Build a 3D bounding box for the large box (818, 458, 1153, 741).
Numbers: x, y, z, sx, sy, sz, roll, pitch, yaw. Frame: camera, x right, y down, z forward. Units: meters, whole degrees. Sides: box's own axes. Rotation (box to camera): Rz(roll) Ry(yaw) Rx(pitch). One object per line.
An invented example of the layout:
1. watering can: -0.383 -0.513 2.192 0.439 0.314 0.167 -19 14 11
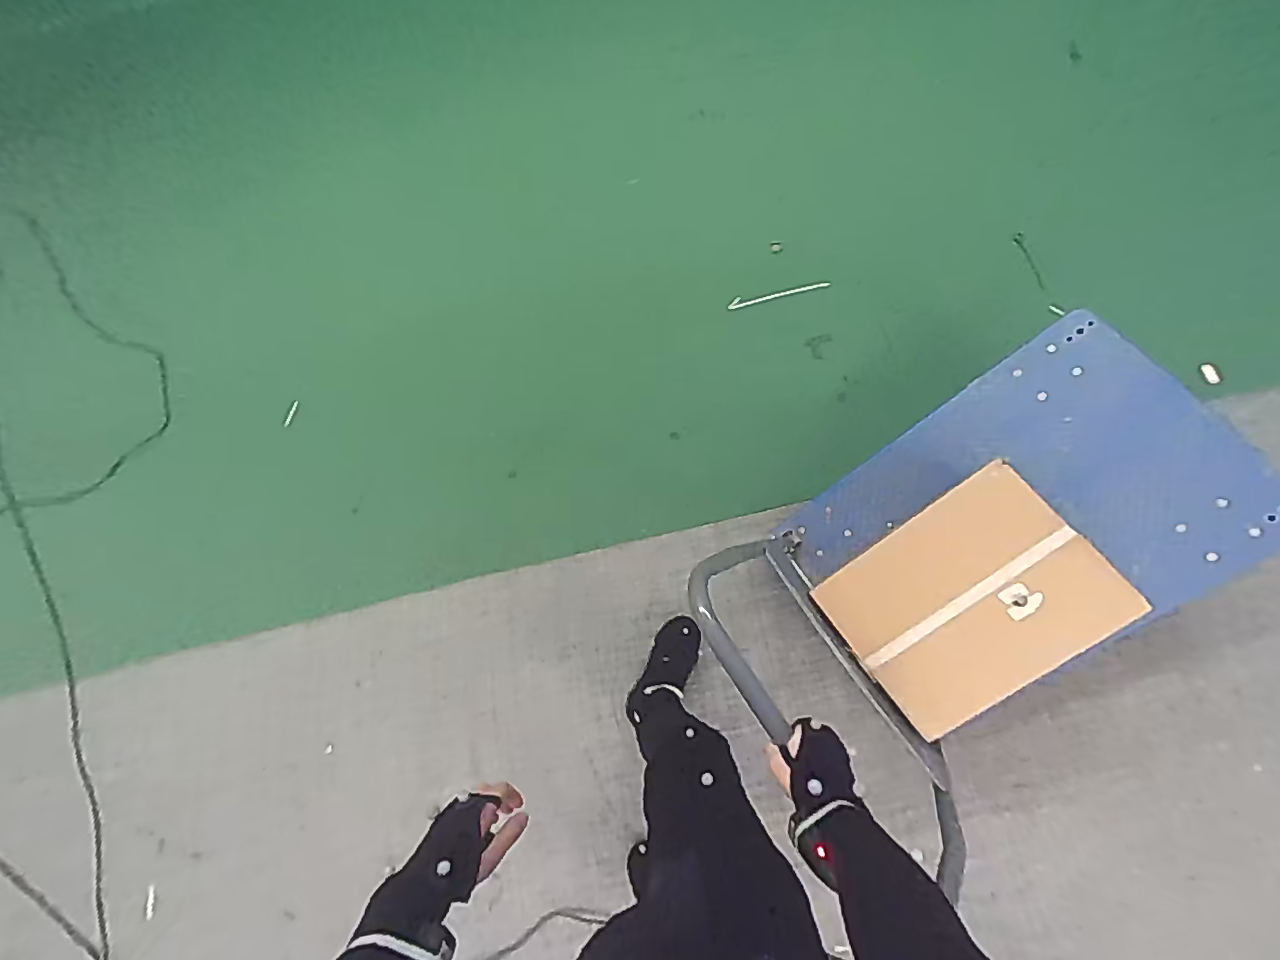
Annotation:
1. large box: 0.613 0.222 1.053 0.408 0.320 0.320 -40 71 12
